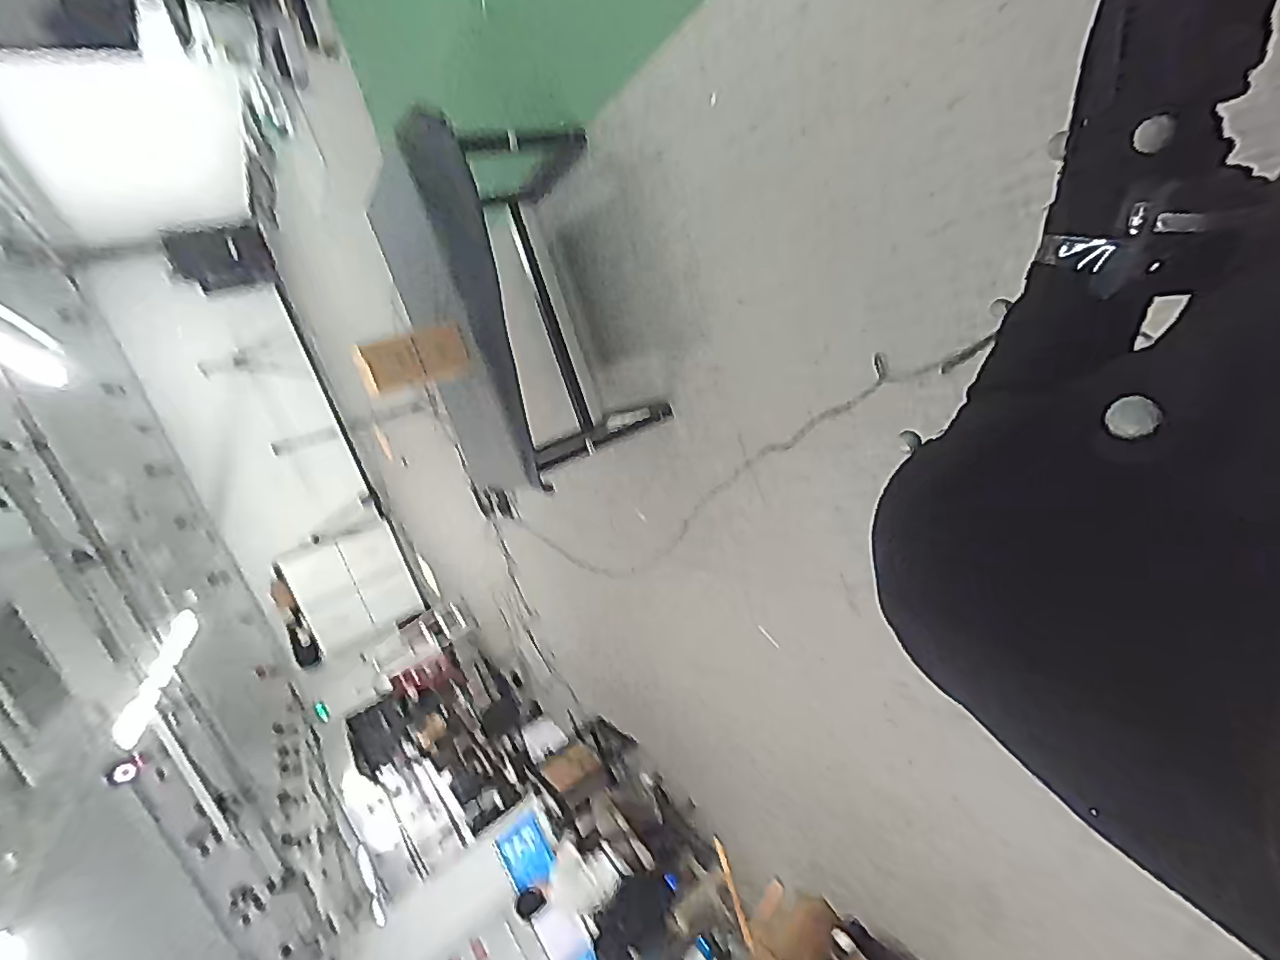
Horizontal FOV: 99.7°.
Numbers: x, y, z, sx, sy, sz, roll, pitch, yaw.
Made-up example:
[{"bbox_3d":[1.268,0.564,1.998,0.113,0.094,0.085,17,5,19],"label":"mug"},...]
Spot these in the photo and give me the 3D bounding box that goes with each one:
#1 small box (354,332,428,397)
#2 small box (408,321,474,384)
[{"bbox_3d":[-0.847,-0.395,1.850,0.179,0.176,0.168,-1,112,56],"label":"small box"},{"bbox_3d":[-0.723,-0.461,1.934,0.168,0.176,0.179,1,114,56],"label":"small box"}]
